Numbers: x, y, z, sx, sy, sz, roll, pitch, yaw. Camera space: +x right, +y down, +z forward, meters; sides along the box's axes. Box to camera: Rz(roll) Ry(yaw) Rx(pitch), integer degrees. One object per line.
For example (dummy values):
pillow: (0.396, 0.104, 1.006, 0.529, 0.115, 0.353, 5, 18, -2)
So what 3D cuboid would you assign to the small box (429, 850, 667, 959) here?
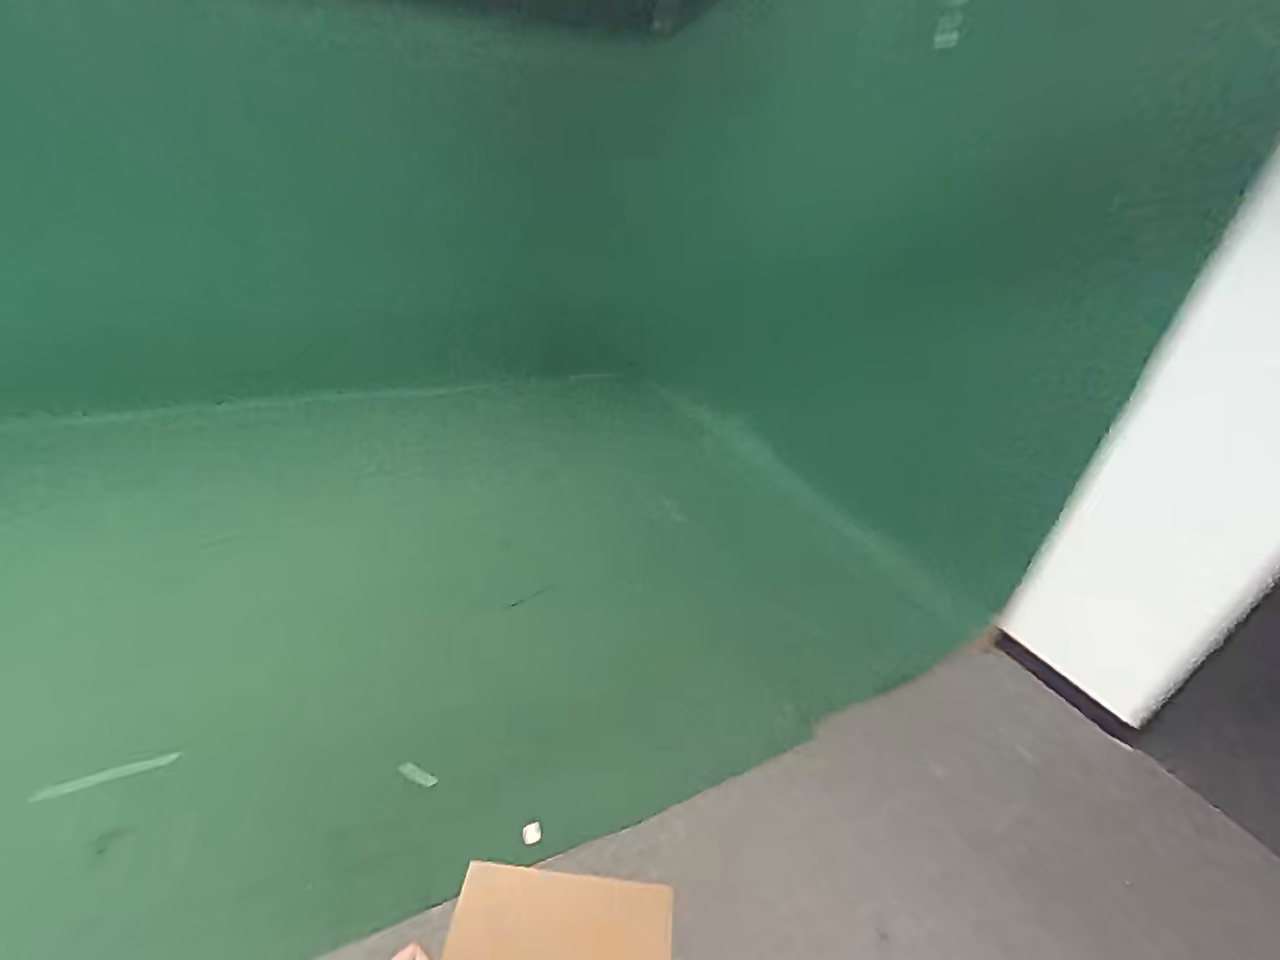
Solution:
small box: (-0.074, 0.417, 0.400, 0.168, 0.176, 0.179, 6, 34, 2)
